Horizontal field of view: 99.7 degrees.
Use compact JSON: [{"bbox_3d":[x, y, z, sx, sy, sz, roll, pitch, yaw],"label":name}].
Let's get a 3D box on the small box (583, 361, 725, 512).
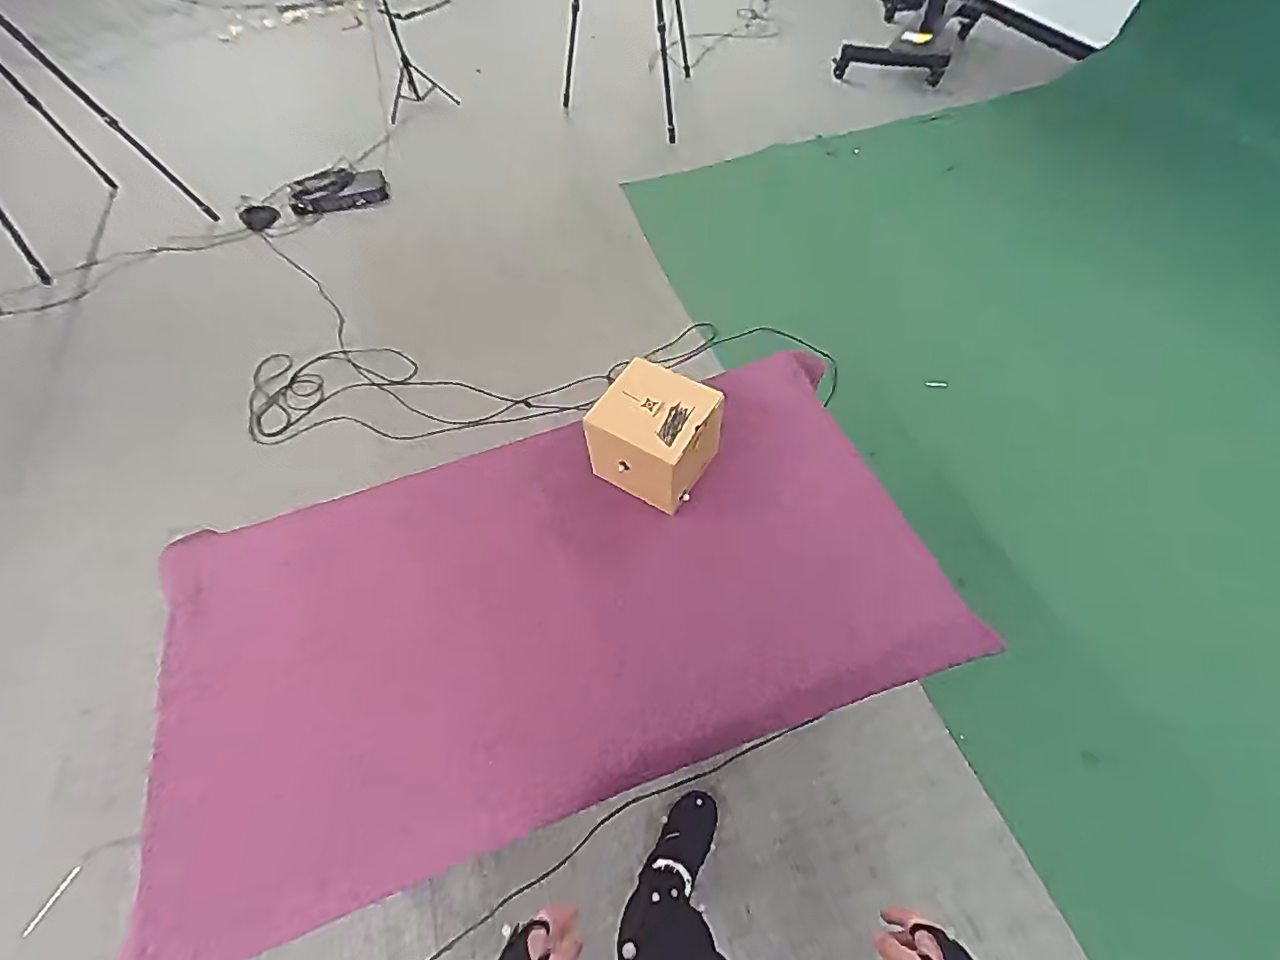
[{"bbox_3d":[0.027,-0.068,0.939,0.179,0.176,0.168,28,64,19],"label":"small box"}]
